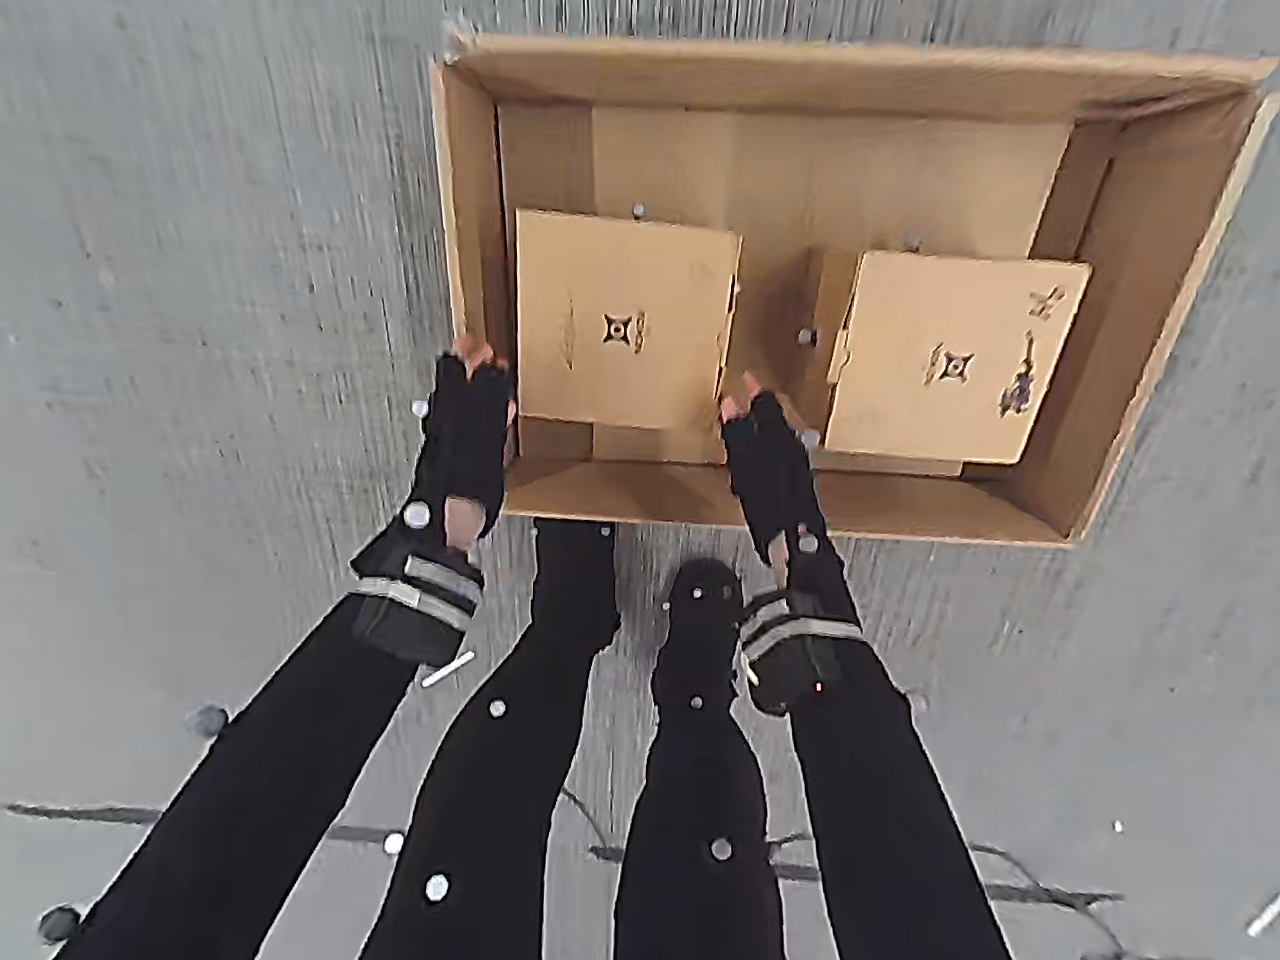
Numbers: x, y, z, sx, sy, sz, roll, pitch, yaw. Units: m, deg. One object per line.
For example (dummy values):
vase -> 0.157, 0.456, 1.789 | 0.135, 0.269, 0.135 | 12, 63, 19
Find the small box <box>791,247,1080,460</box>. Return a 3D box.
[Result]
small box -> 0.254, -0.131, 0.523 | 0.179, 0.176, 0.168 | 4, 115, 3

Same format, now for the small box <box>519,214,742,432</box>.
small box -> -0.012, -0.157, 0.523 | 0.179, 0.176, 0.168 | 6, 114, 0
